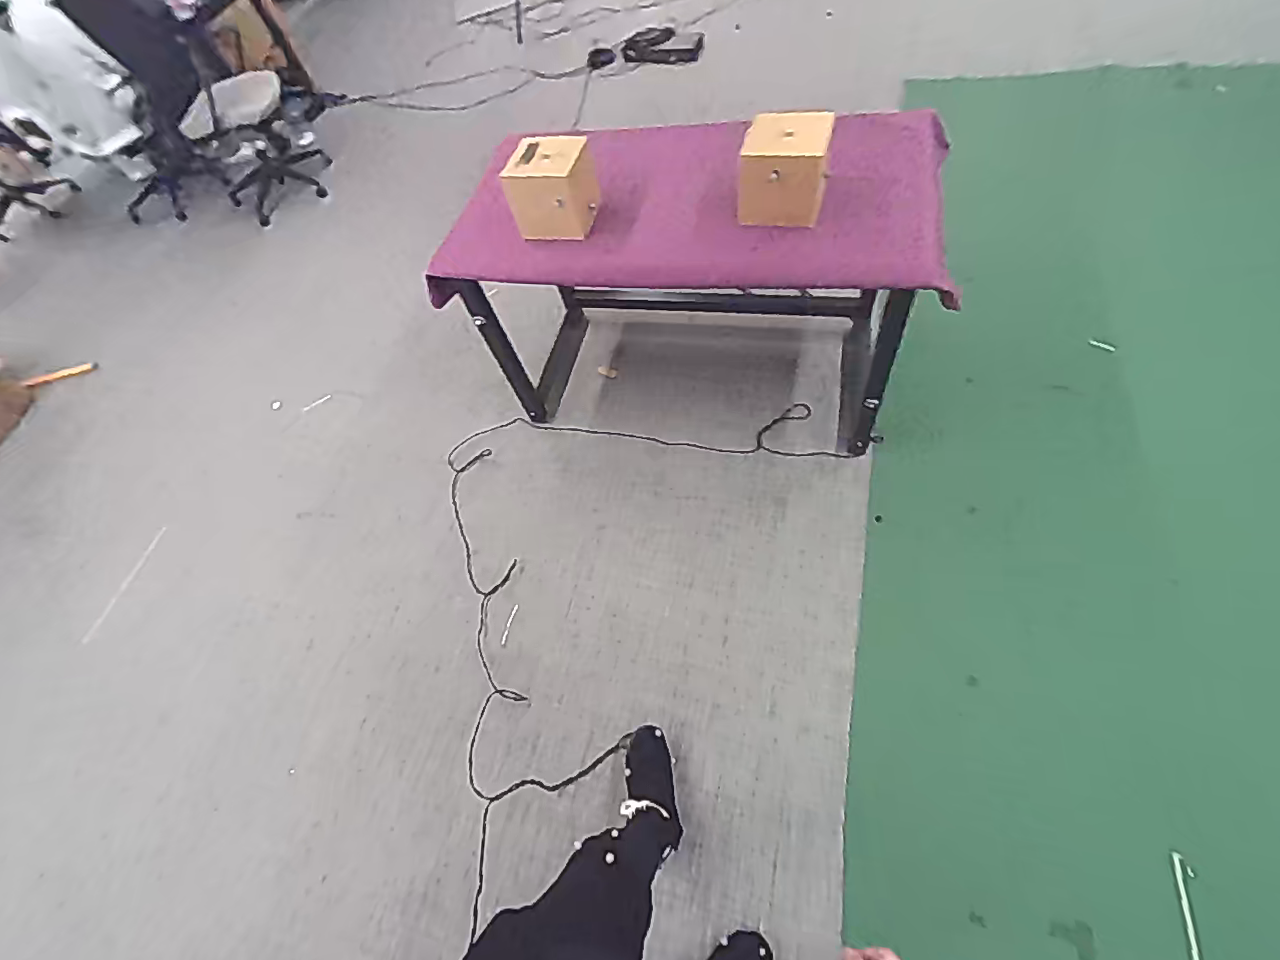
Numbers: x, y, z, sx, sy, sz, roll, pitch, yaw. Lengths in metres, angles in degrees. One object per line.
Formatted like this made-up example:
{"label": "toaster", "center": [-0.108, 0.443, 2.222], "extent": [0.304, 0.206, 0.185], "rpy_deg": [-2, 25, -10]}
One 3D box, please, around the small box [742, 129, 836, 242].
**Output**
{"label": "small box", "center": [0.339, -0.674, 1.246], "extent": [0.179, 0.176, 0.168], "rpy_deg": [12, 62, 18]}
